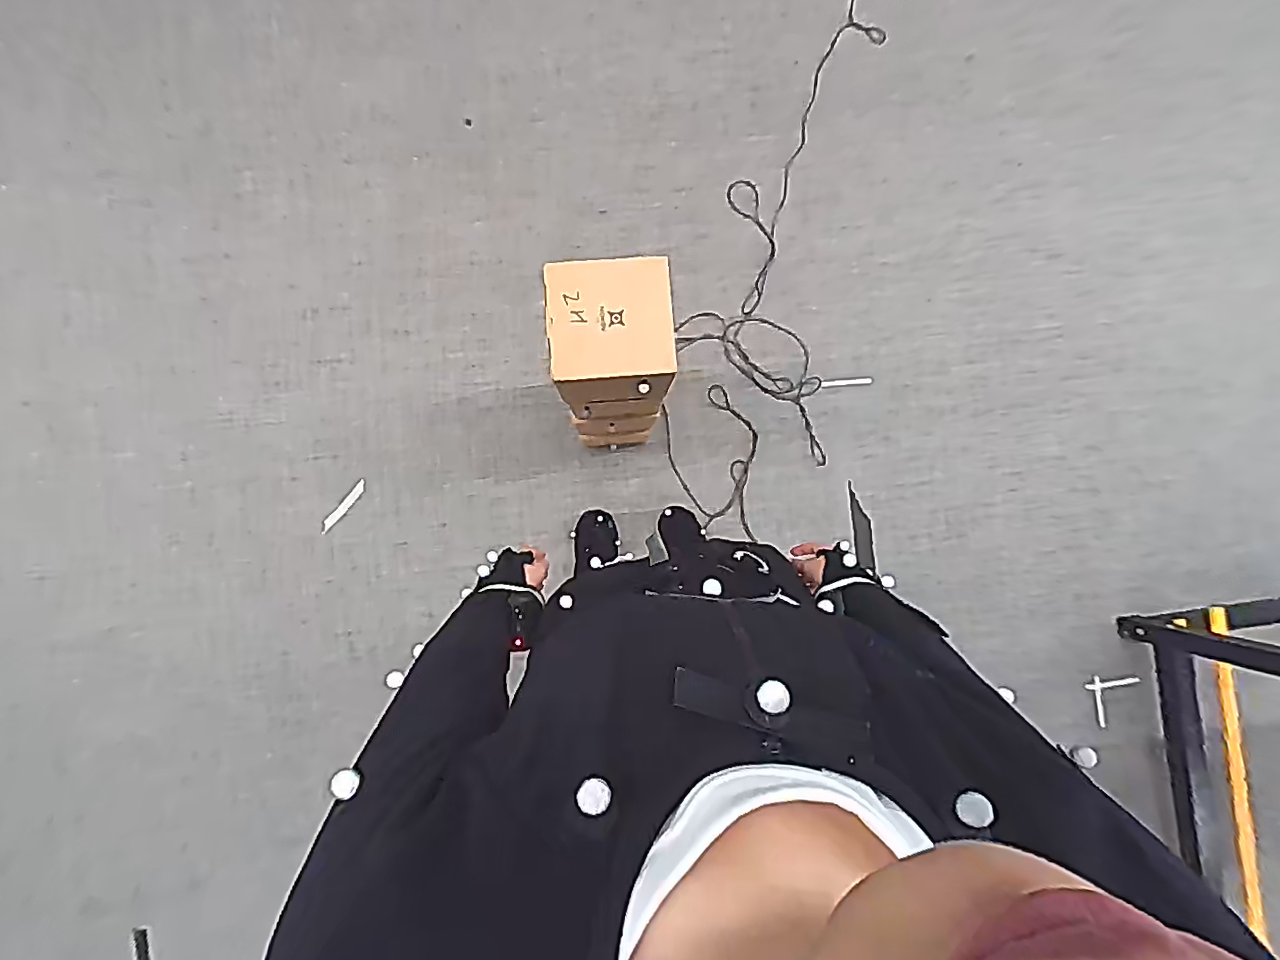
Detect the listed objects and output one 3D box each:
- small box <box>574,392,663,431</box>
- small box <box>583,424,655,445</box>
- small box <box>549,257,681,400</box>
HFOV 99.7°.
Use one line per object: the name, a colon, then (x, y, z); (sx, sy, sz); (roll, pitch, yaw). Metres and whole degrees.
small box: (-0.049, -0.198, 1.150); (0.179, 0.176, 0.168); (-5, 89, -1)
small box: (-0.057, -0.183, 1.311); (0.168, 0.176, 0.179); (-5, 89, -2)
small box: (-0.038, -0.220, 0.821); (0.179, 0.176, 0.168); (-4, 87, -1)
